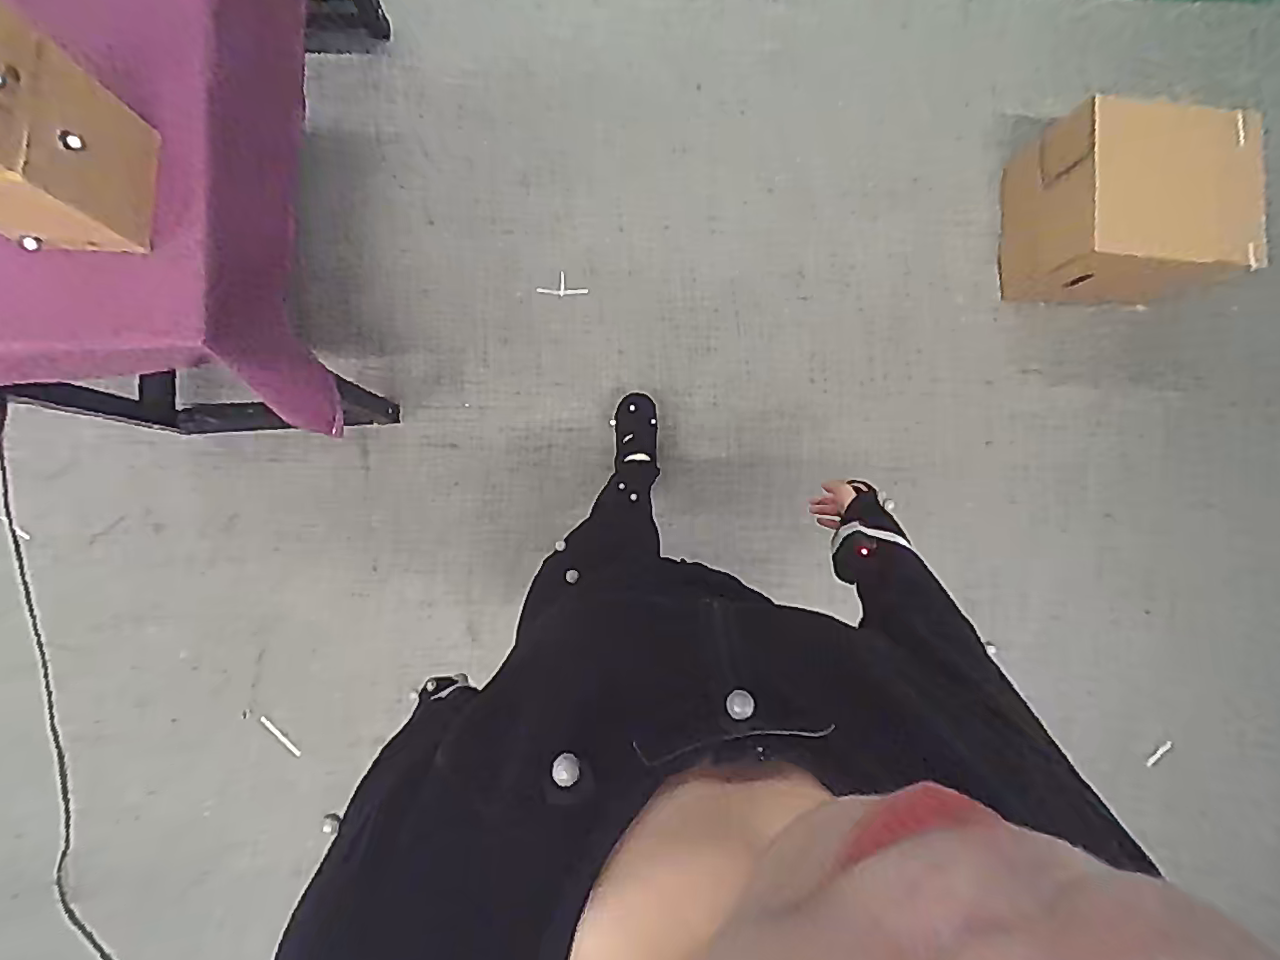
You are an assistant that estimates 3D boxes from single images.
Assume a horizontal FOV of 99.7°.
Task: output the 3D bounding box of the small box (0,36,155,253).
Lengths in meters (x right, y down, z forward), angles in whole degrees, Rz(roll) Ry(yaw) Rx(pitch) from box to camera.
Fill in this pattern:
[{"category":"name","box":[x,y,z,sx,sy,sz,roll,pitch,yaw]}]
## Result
[{"category":"small box","box":[-0.761,-0.404,0.676,0.168,0.176,0.179,1,85,-3]}]
